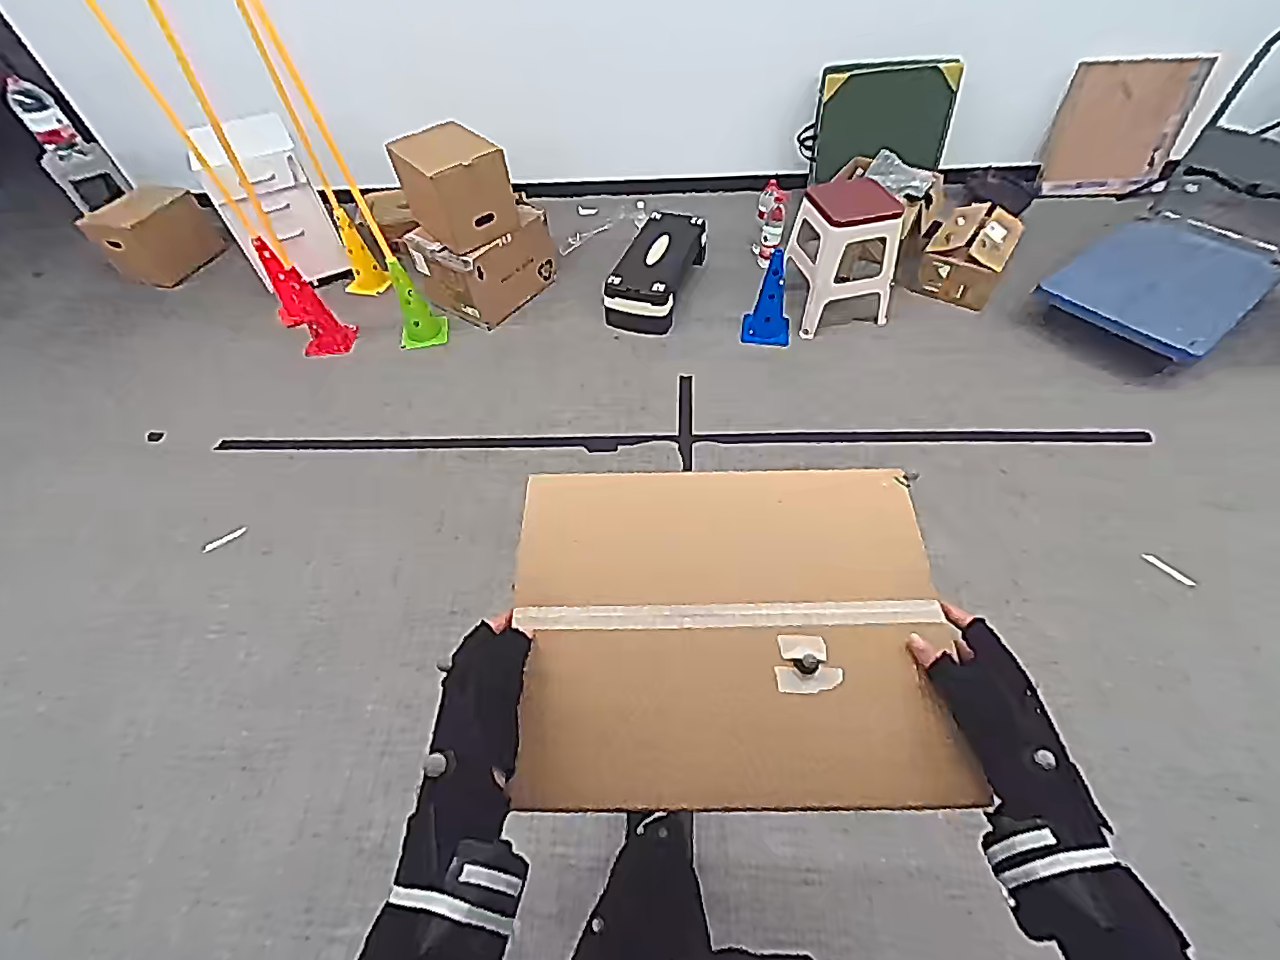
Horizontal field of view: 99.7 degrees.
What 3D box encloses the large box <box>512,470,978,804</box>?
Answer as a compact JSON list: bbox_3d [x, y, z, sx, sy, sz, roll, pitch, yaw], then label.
[{"bbox_3d":[0.085,0.200,0.654,0.408,0.320,0.320,-1,62,0],"label":"large box"}]
